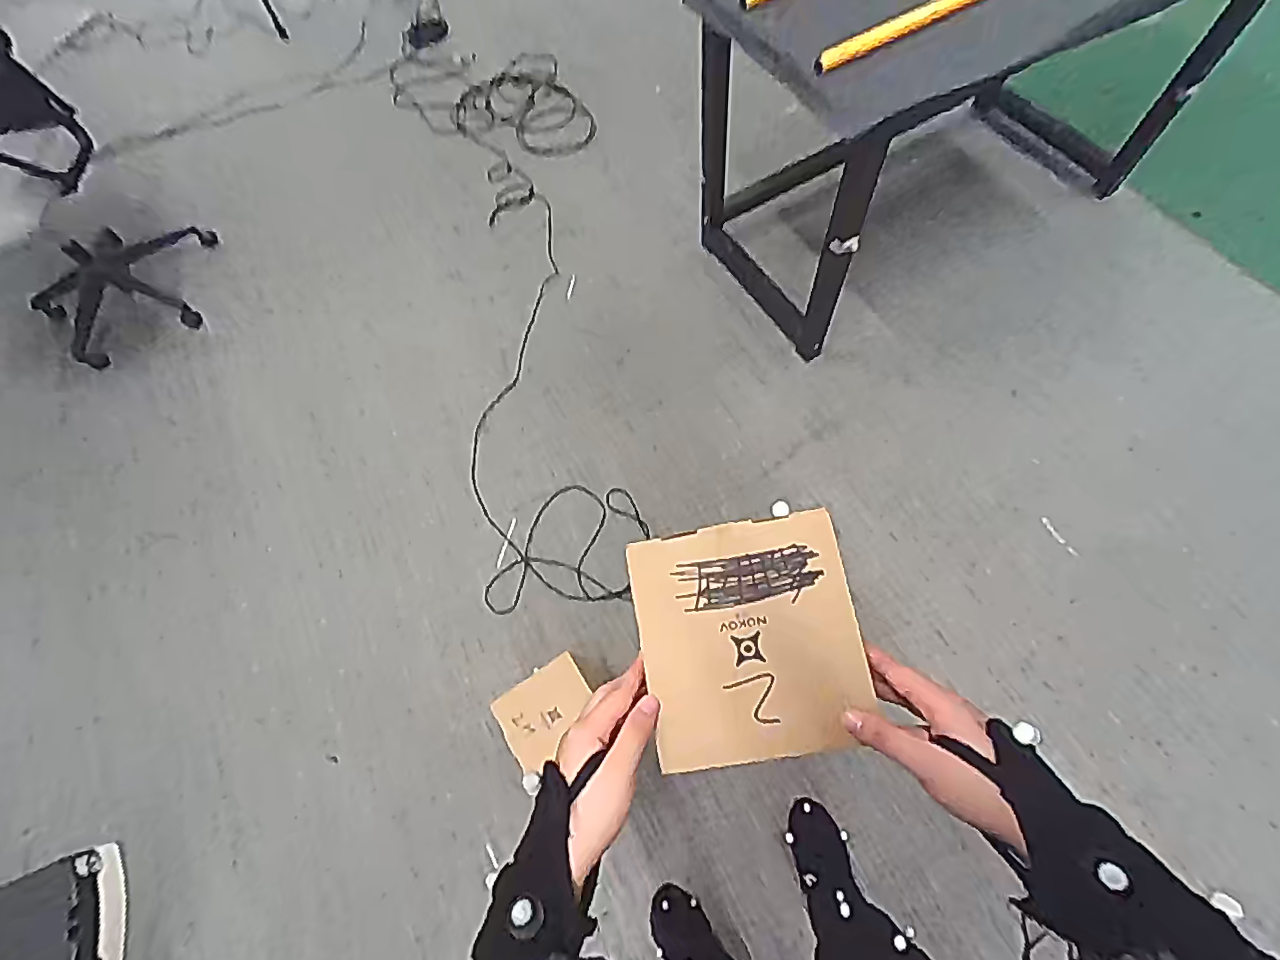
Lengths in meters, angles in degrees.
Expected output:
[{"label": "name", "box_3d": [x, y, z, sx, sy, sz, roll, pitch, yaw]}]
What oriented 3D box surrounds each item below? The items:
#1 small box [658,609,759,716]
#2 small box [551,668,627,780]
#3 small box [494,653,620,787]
[{"label": "small box", "box_3d": [0.154, 0.416, 1.229, 0.168, 0.176, 0.179, -23, 66, -4]}, {"label": "small box", "box_3d": [-0.140, 0.534, 1.212, 0.179, 0.176, 0.168, -32, 68, -7]}, {"label": "small box", "box_3d": [-0.152, 0.463, 1.063, 0.179, 0.176, 0.168, -33, 68, -7]}]
